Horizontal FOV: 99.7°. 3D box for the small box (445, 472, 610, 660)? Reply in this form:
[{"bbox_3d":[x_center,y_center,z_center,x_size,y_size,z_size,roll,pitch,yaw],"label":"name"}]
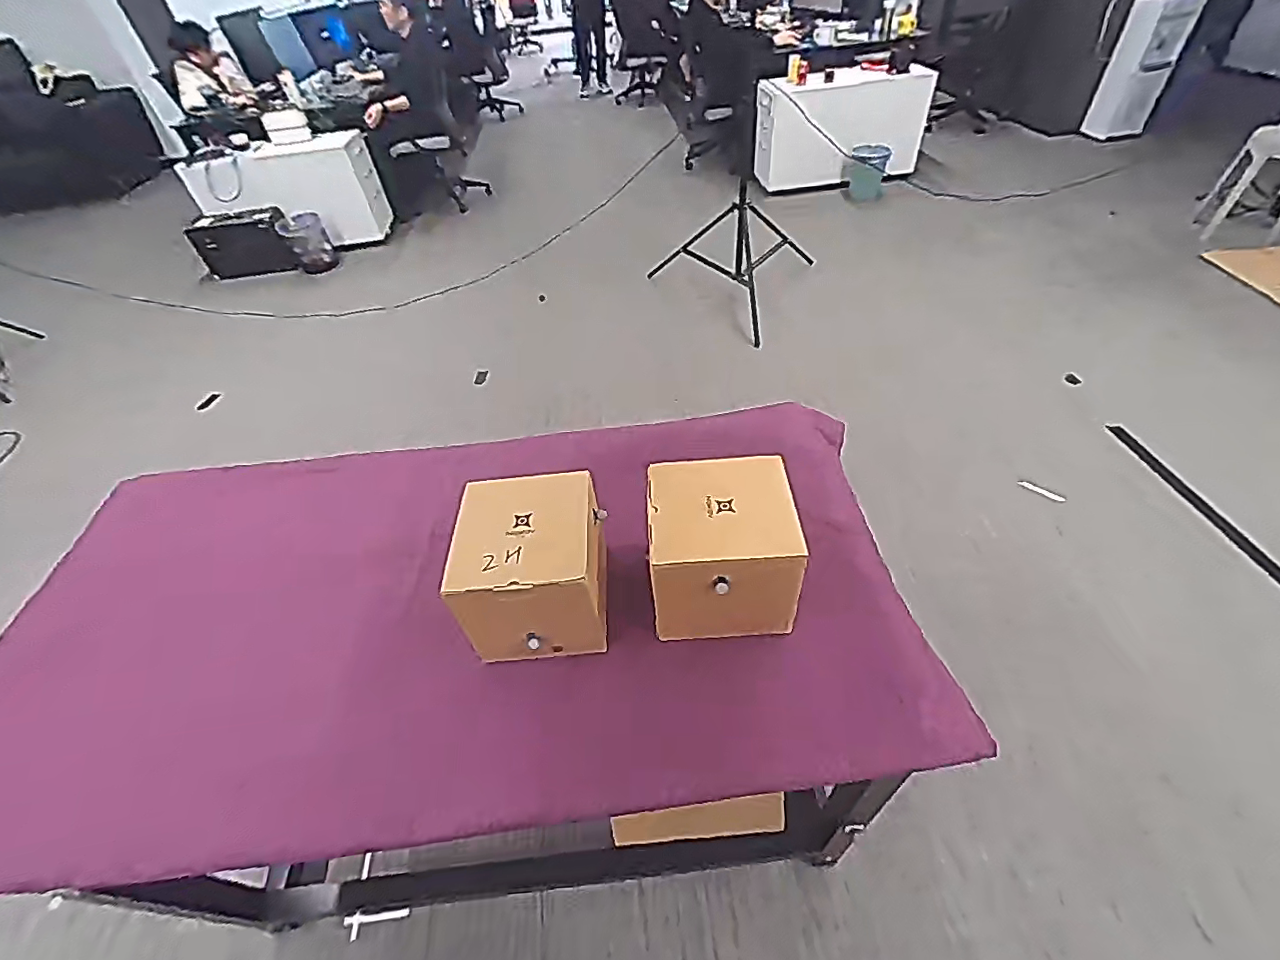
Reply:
[{"bbox_3d":[-0.133,0.113,0.712,0.168,0.176,0.179,-6,45,2],"label":"small box"}]

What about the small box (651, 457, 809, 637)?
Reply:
[{"bbox_3d":[0.107,0.090,0.709,0.179,0.176,0.168,-4,44,3],"label":"small box"}]
